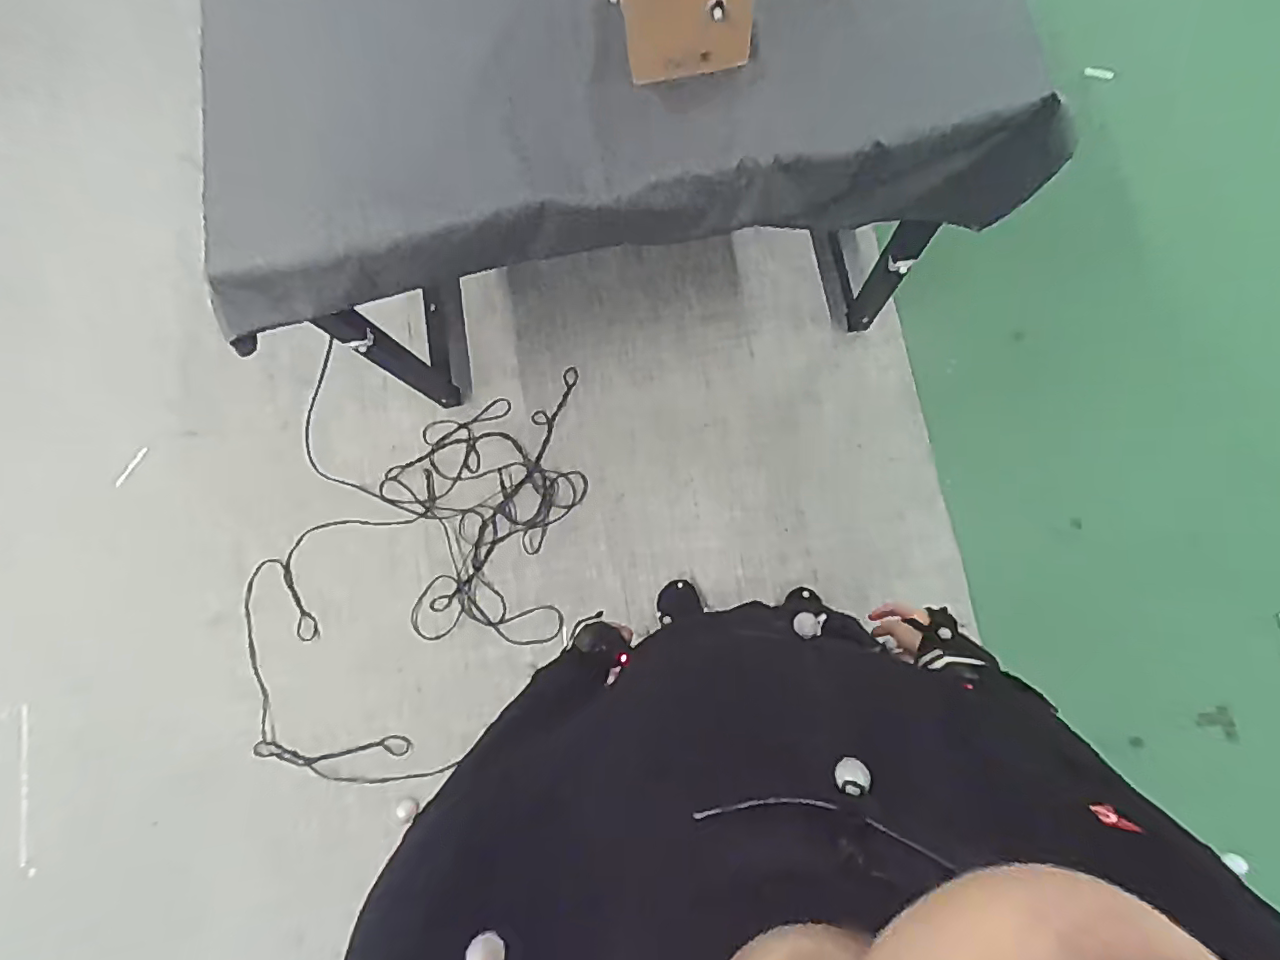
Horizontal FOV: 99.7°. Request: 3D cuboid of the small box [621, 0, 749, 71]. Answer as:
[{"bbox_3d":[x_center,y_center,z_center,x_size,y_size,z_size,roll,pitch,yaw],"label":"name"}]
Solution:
[{"bbox_3d":[0.052,-0.674,0.702,0.168,0.176,0.179,-7,79,3],"label":"small box"}]
